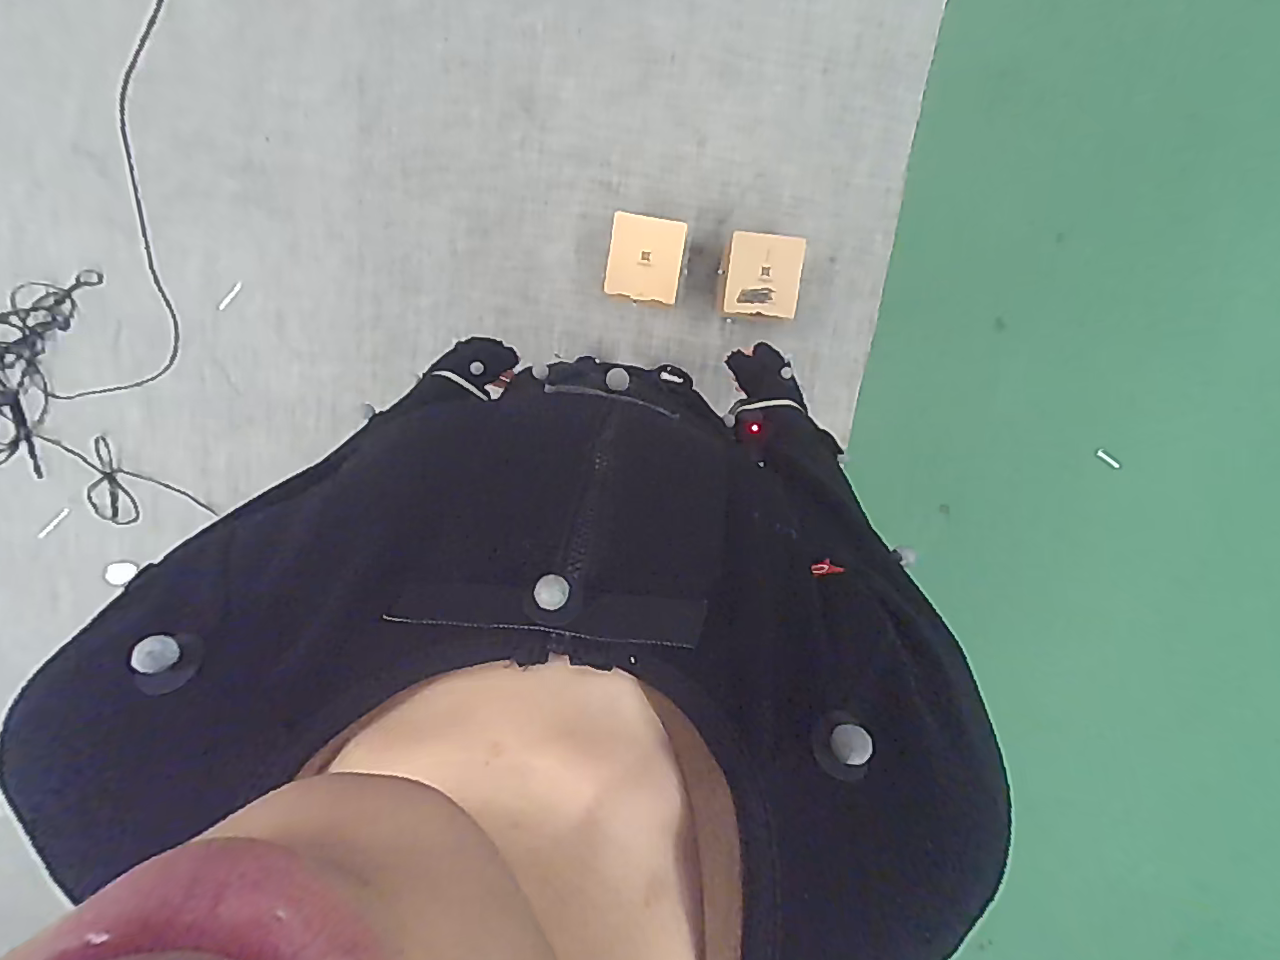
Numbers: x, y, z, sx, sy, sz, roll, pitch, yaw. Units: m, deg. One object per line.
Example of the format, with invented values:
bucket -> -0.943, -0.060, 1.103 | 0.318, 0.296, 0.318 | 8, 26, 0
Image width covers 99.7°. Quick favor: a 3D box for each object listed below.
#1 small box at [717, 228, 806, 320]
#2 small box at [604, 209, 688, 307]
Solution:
small box -> 0.279, -0.481, 1.284 | 0.168, 0.176, 0.179 | 6, 103, 1
small box -> 0.012, -0.518, 1.285 | 0.168, 0.176, 0.179 | 9, 104, -1
